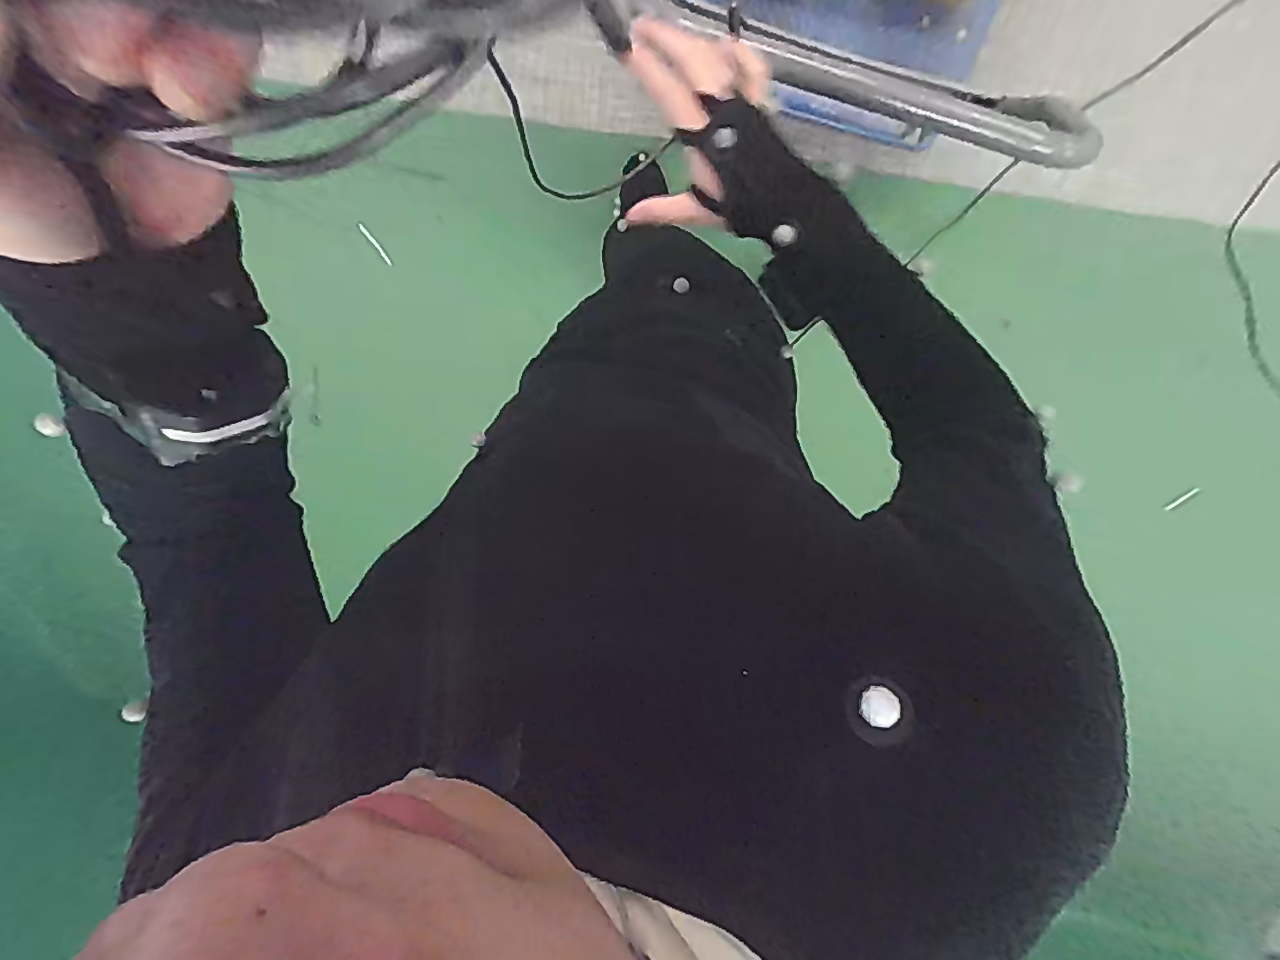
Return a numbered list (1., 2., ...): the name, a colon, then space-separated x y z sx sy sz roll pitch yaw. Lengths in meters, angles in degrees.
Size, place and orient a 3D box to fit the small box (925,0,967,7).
1. small box: 0.495 -0.887 0.842 0.168 0.176 0.179 18 123 -2
